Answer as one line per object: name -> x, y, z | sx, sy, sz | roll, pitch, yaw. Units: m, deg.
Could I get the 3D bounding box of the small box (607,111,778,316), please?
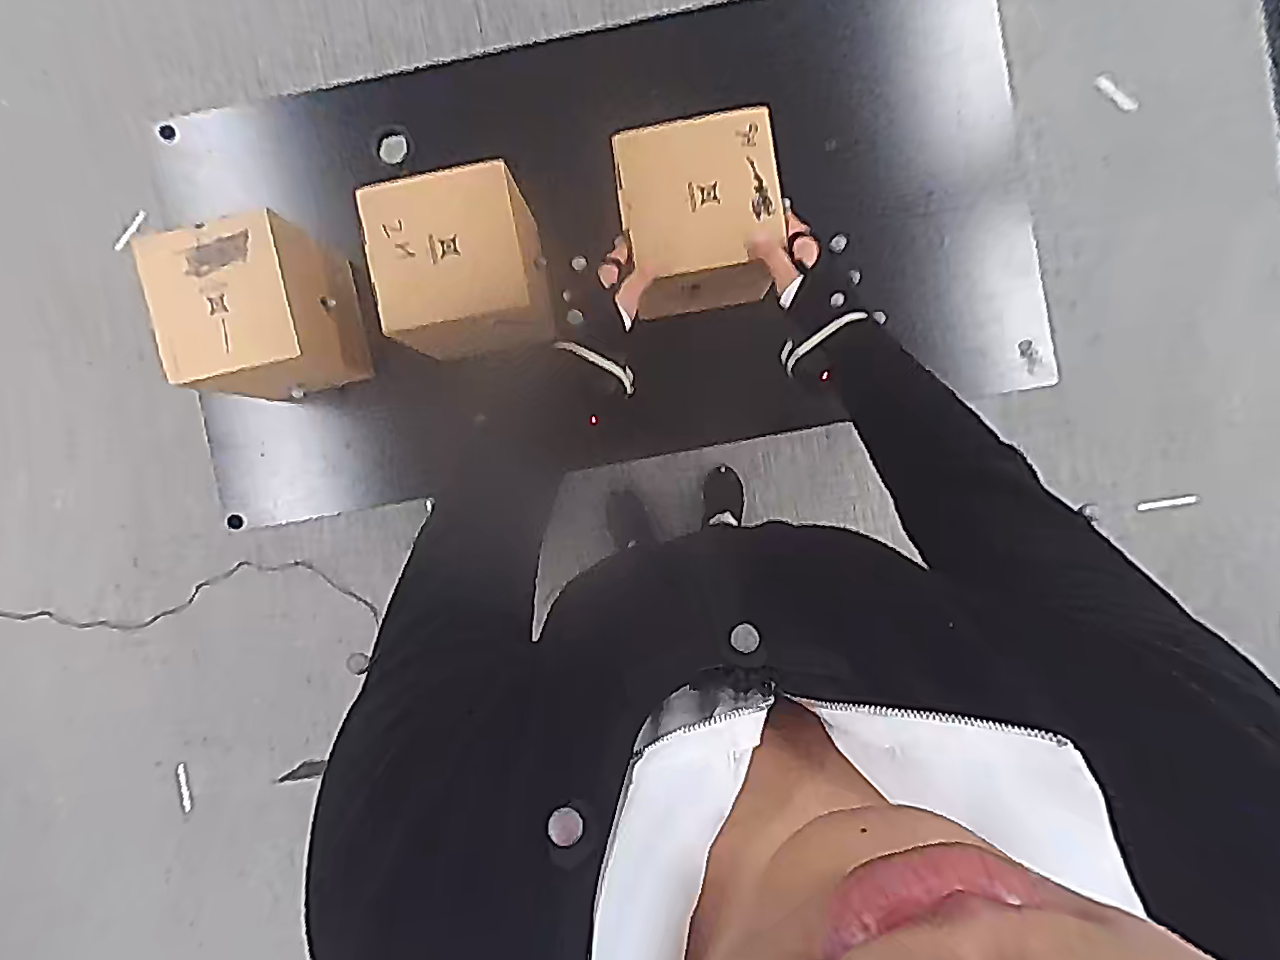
small box -> 0.064, -0.319, 0.686 | 0.179, 0.176, 0.168 | -9, 92, 3

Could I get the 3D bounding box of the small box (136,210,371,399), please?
small box -> -0.487, -0.214, 0.707 | 0.168, 0.176, 0.179 | -12, 93, 2

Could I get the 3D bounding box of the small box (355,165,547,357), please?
small box -> -0.225, -0.266, 0.696 | 0.179, 0.176, 0.168 | -11, 91, 3
